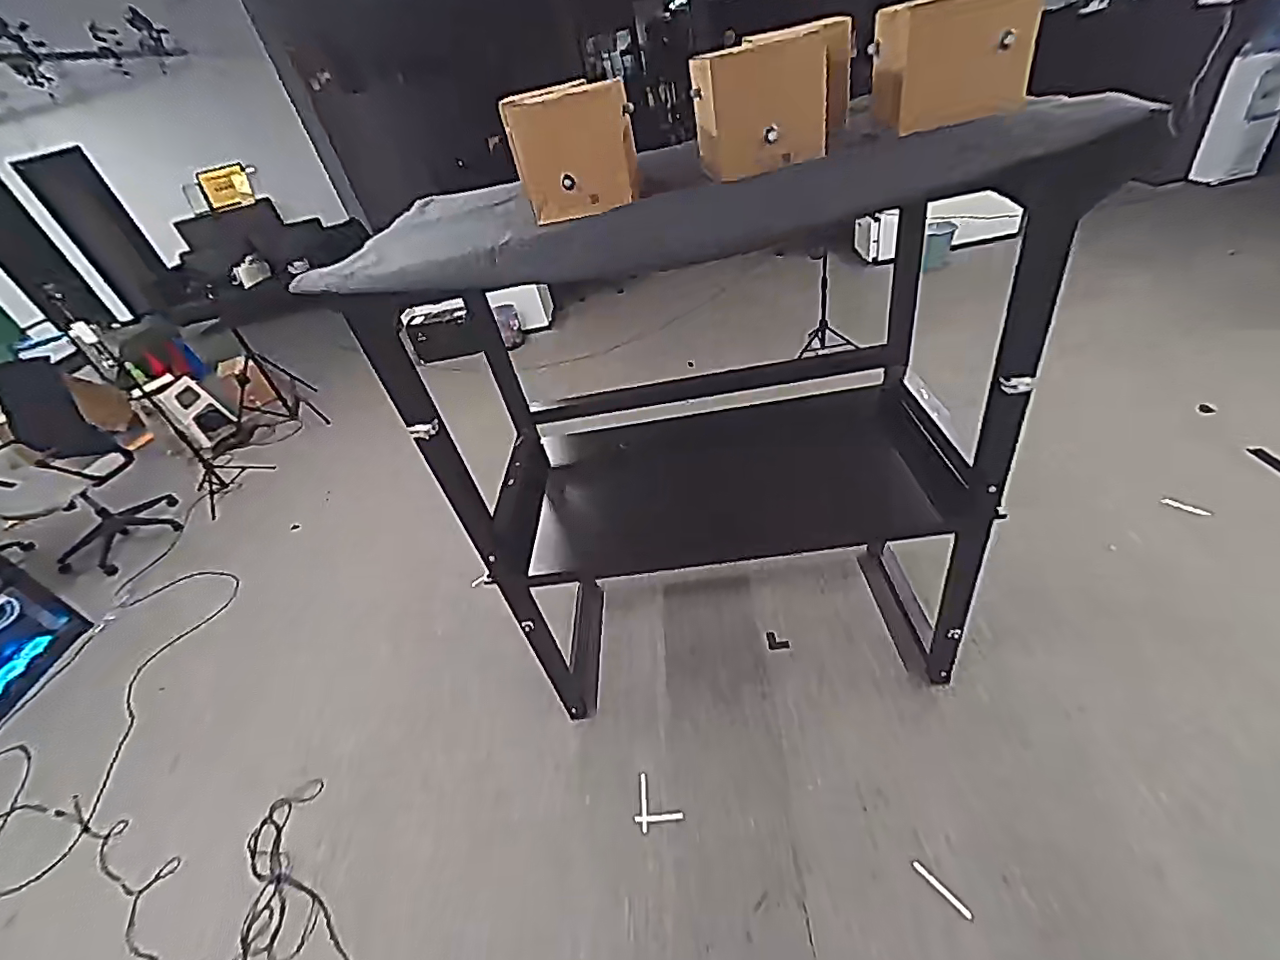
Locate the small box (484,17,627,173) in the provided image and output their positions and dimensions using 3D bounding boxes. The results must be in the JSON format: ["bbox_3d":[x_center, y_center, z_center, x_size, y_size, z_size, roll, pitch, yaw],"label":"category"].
[{"bbox_3d":[-0.119,-0.598,0.849,0.168,0.176,0.179,-7,39,9],"label":"small box"}]

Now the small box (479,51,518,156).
[{"bbox_3d":[-0.192,-0.743,1.045,0.168,0.176,0.179,-11,39,3],"label":"small box"}]

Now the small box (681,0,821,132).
[{"bbox_3d":[0.163,-0.645,0.820,0.168,0.176,0.179,-12,38,3],"label":"small box"}]

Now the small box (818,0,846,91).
[{"bbox_3d":[0.272,-0.817,0.997,0.168,0.176,0.179,-8,39,7],"label":"small box"}]
